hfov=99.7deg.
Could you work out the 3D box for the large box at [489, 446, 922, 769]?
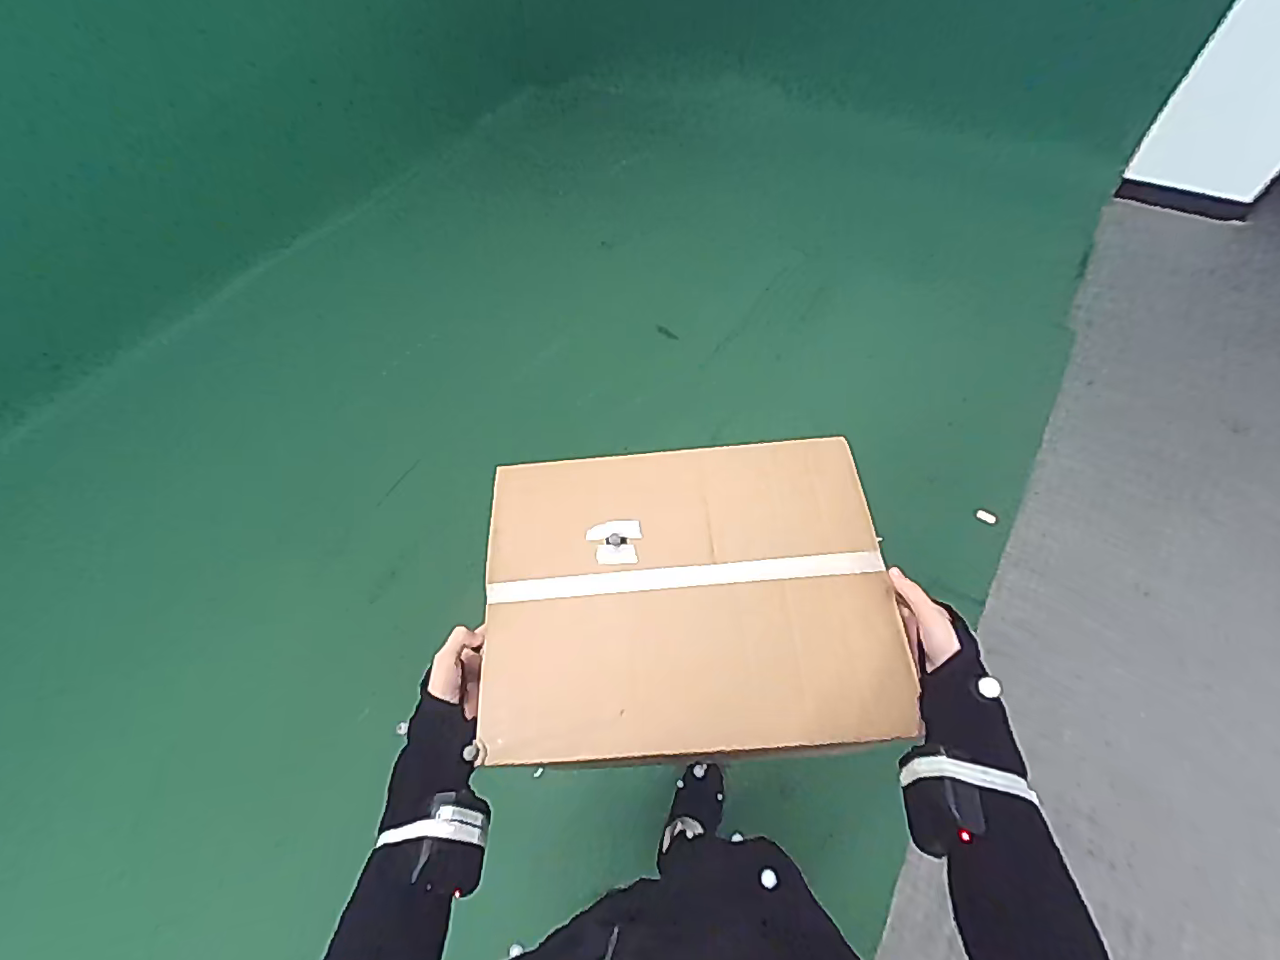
[{"bbox_3d":[0.063,0.183,0.691,0.408,0.320,0.320,-5,59,3],"label":"large box"}]
